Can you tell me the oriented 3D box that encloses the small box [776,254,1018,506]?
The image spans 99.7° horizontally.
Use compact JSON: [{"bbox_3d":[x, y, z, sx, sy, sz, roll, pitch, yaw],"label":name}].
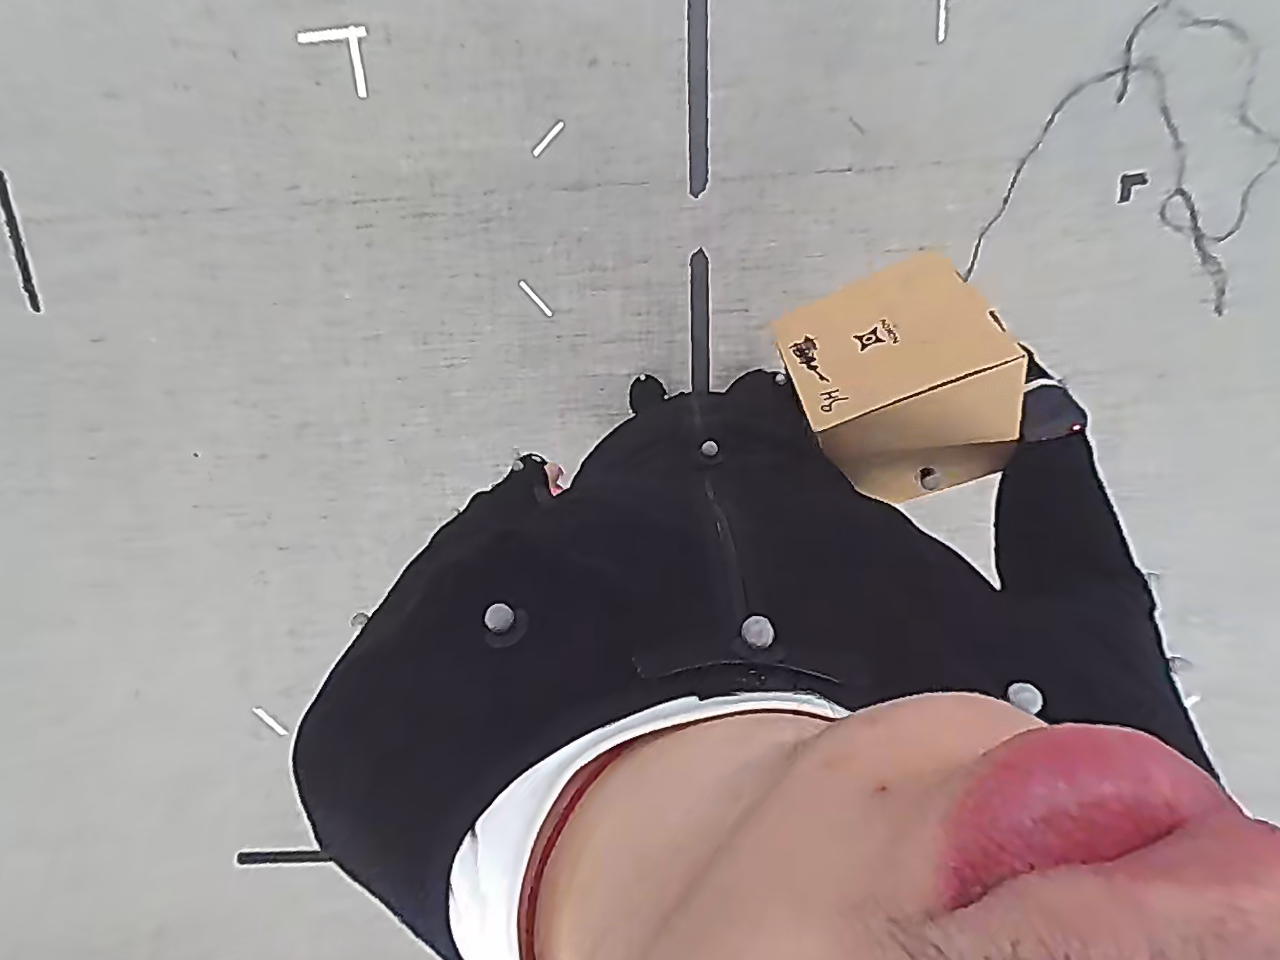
[{"bbox_3d":[0.267,-0.098,0.584,0.179,0.168,0.176,-21,139,17],"label":"small box"}]
